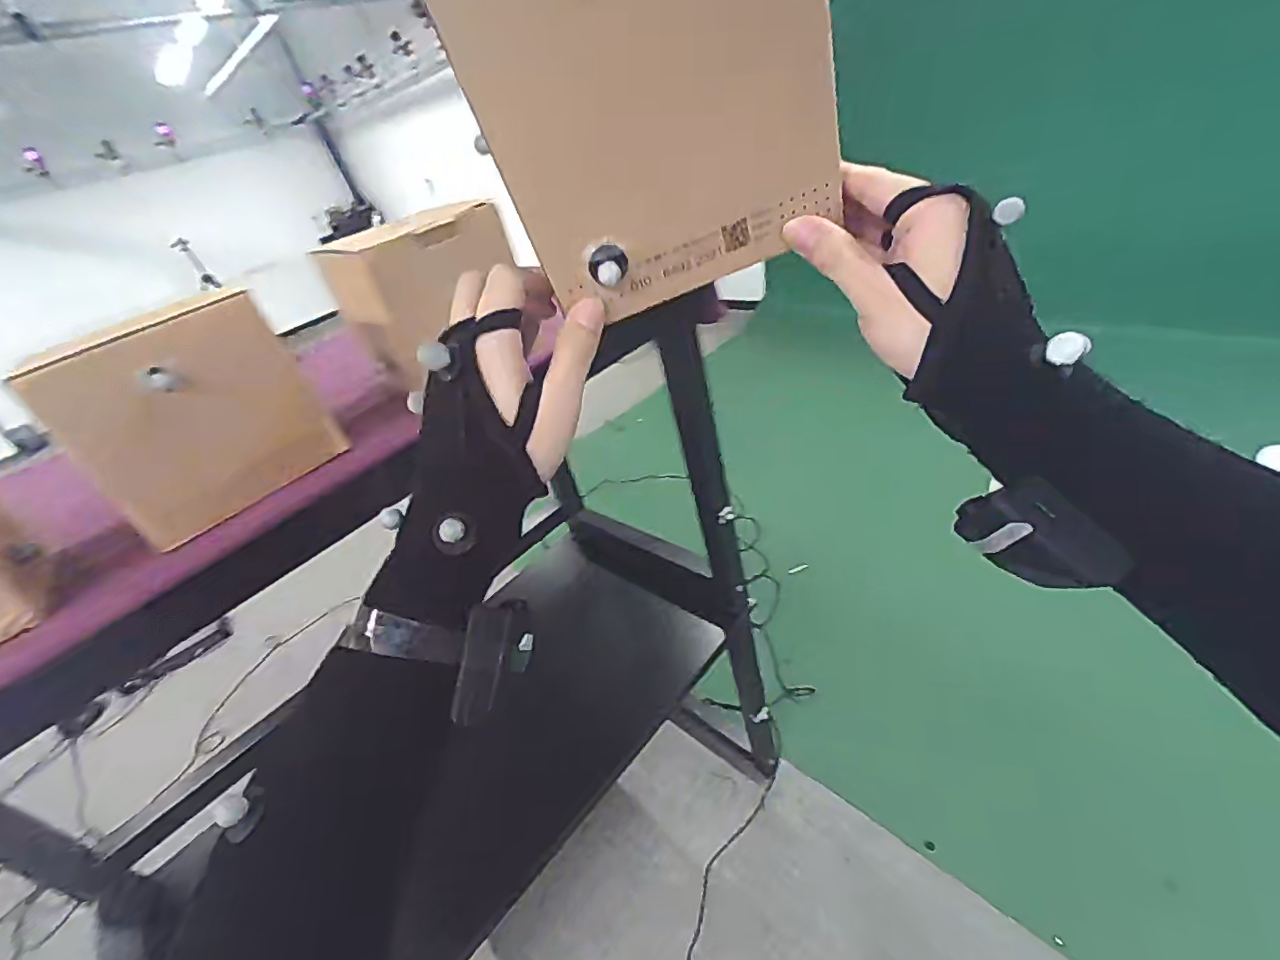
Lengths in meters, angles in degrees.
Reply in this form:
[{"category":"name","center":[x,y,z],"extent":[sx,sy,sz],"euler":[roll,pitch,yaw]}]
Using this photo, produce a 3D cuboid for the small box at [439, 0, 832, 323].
[{"category":"small box","center":[0.002,-0.220,0.337],"extent":[0.168,0.176,0.179],"euler":[-22,37,4]}]
